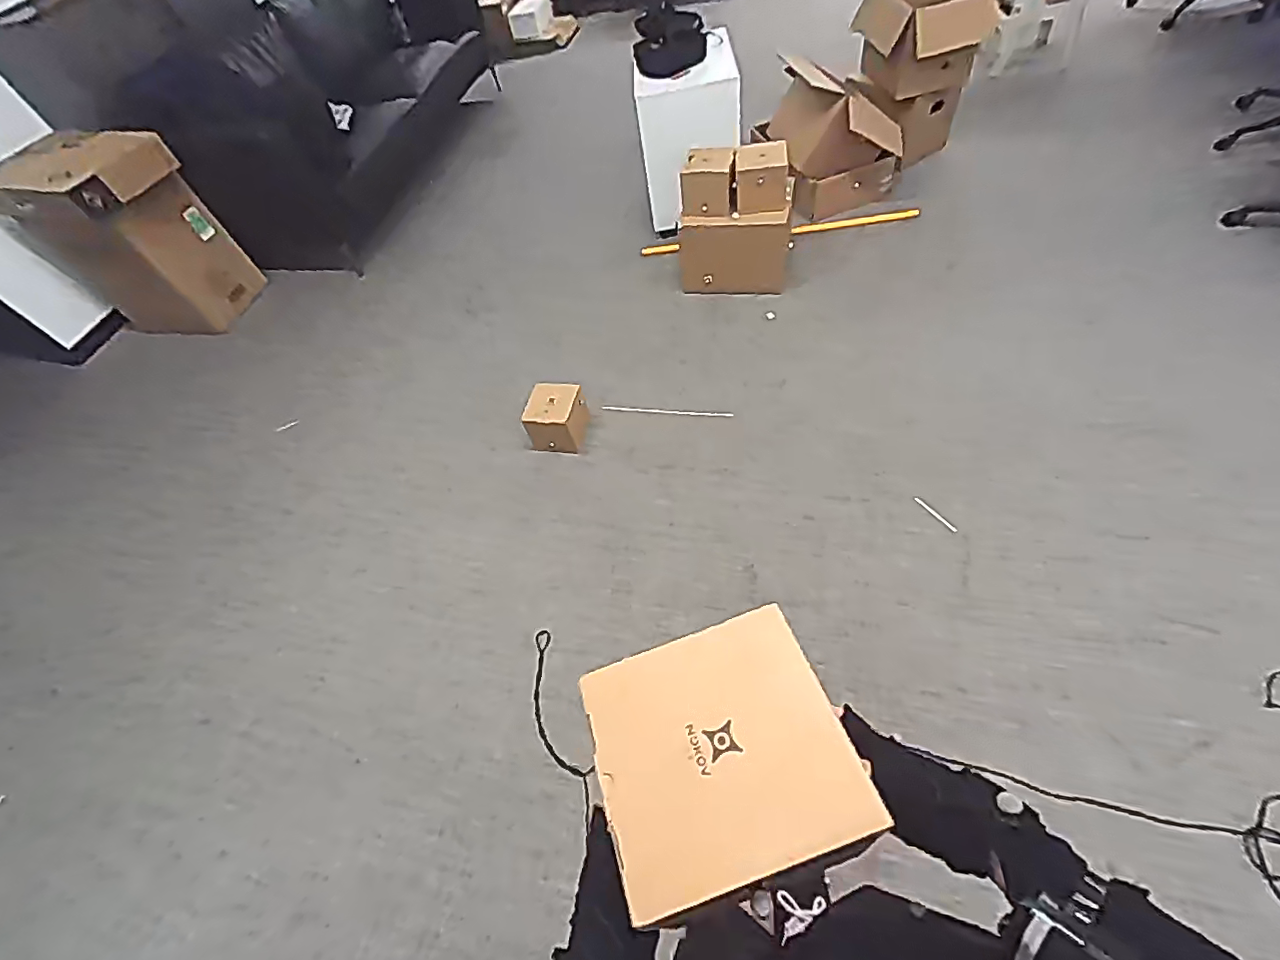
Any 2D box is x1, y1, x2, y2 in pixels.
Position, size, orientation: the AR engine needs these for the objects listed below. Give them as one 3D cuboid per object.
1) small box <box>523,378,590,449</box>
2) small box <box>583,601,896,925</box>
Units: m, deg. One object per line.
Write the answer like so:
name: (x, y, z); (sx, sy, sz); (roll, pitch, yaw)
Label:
small box: (-0.283, -0.232, 1.885); (0.168, 0.176, 0.179); (5, 58, 15)
small box: (0.072, 0.230, 0.443); (0.179, 0.176, 0.168); (-20, 50, -1)
